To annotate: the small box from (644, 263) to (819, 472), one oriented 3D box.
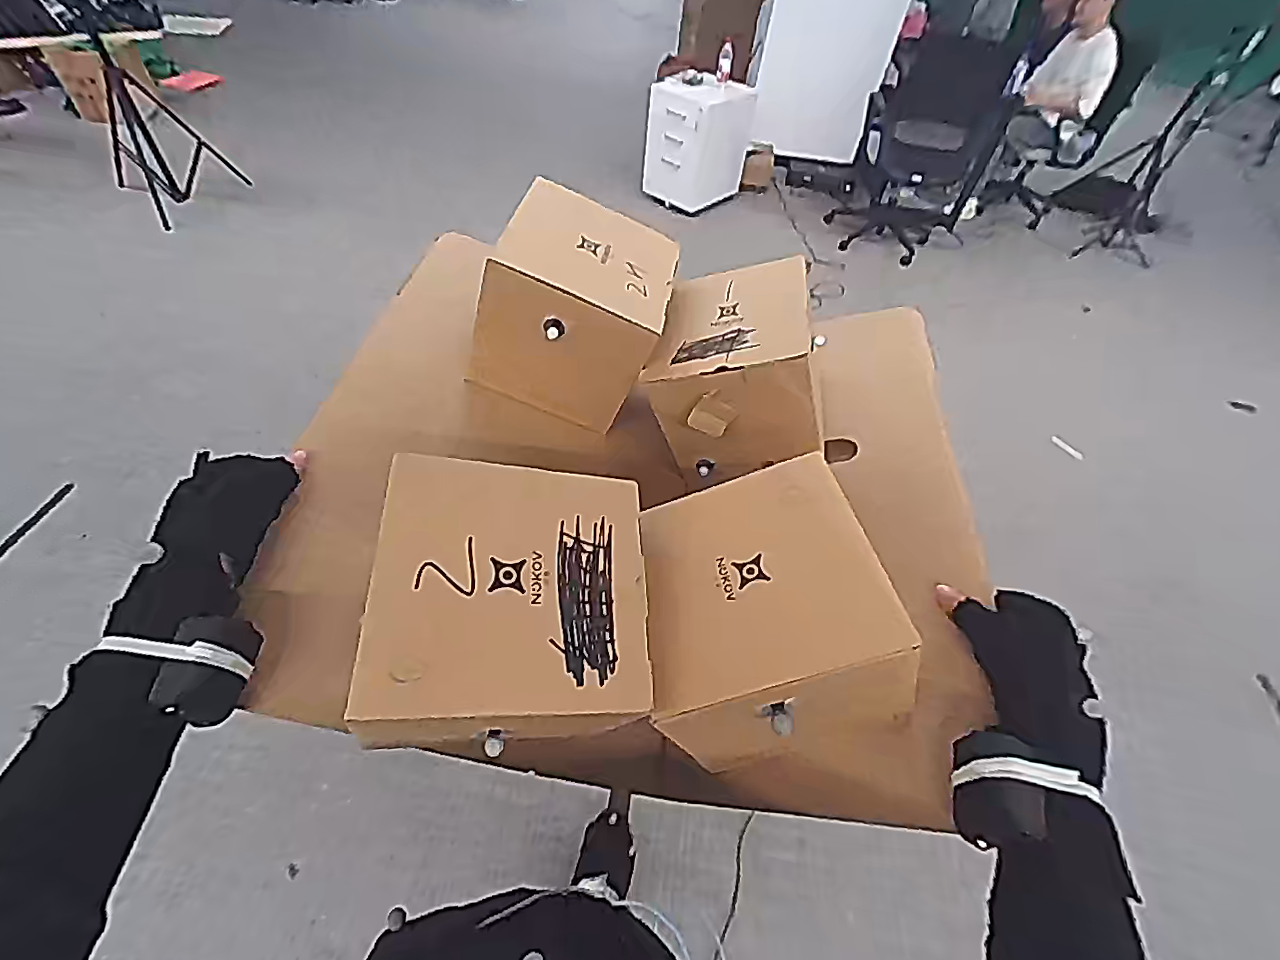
[{"bbox_3d":[0.119,-0.122,0.643,0.168,0.176,0.179,-5,49,21],"label":"small box"}]
